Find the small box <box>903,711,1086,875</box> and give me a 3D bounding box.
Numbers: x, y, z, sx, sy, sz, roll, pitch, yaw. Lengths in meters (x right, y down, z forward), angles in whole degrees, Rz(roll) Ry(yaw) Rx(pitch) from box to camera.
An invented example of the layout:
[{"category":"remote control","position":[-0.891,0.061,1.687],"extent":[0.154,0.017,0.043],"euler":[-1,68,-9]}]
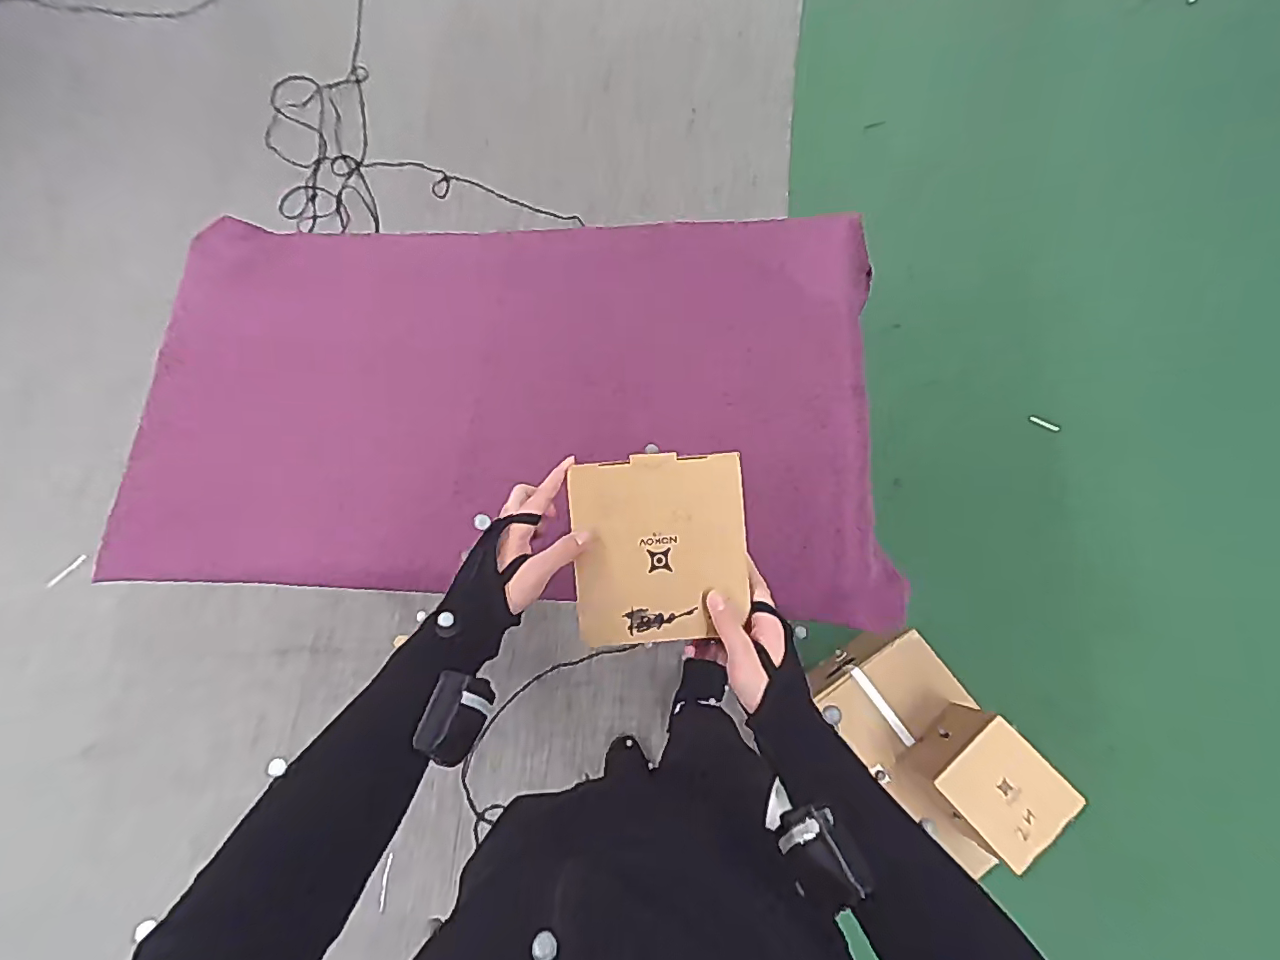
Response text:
[{"category":"small box","position":[0.607,0.531,0.955],"extent":[0.168,0.176,0.179],"euler":[-40,75,-6]}]
